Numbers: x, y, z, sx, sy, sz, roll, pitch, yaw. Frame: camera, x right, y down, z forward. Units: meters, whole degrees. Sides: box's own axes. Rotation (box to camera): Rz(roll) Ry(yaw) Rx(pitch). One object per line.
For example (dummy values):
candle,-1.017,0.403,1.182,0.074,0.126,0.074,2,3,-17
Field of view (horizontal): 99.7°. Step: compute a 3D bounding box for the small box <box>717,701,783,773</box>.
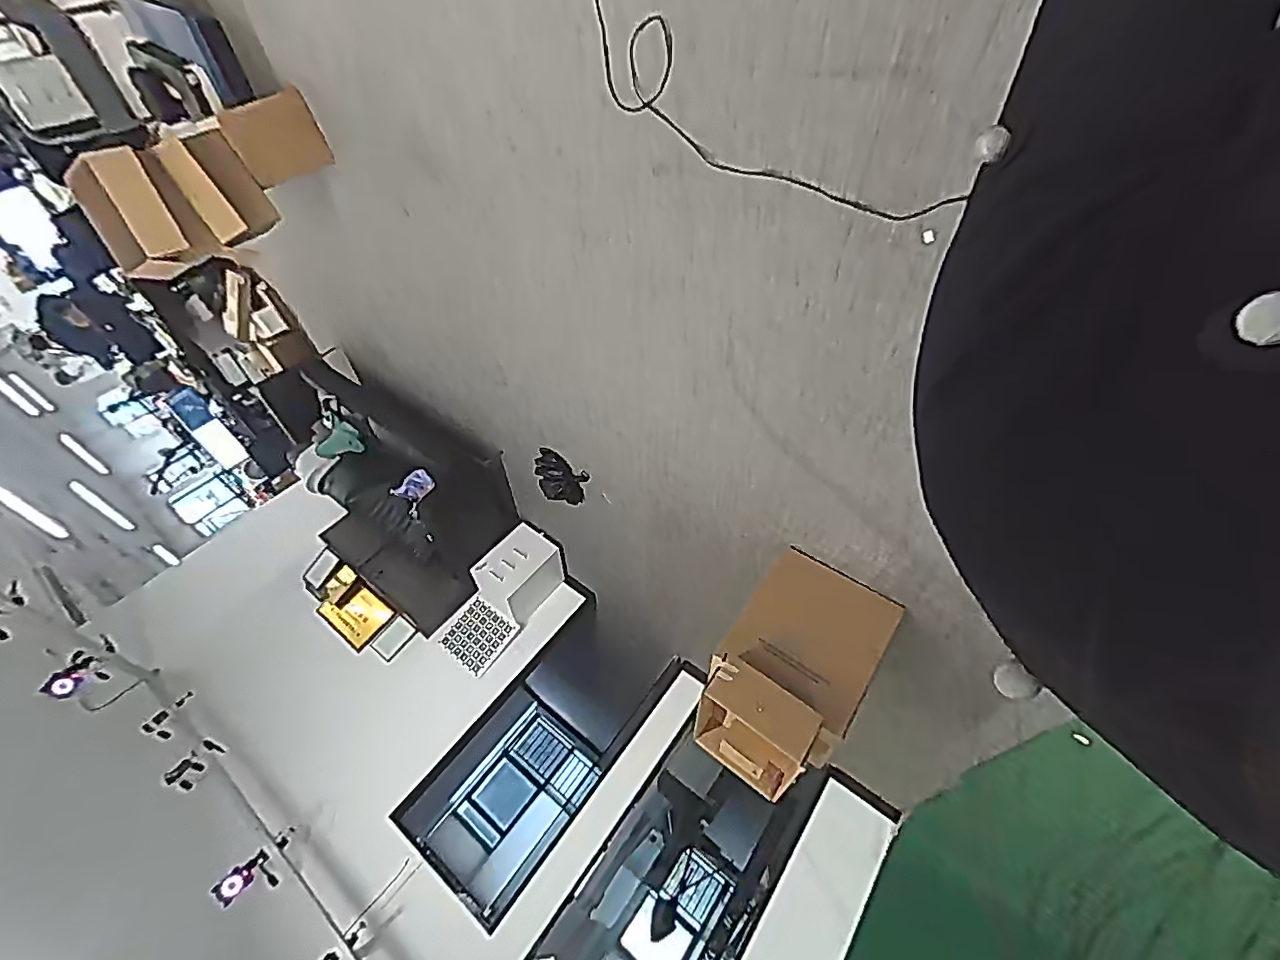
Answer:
small box,0.414,0.964,2.046,0.179,0.176,0.168,30,149,26
